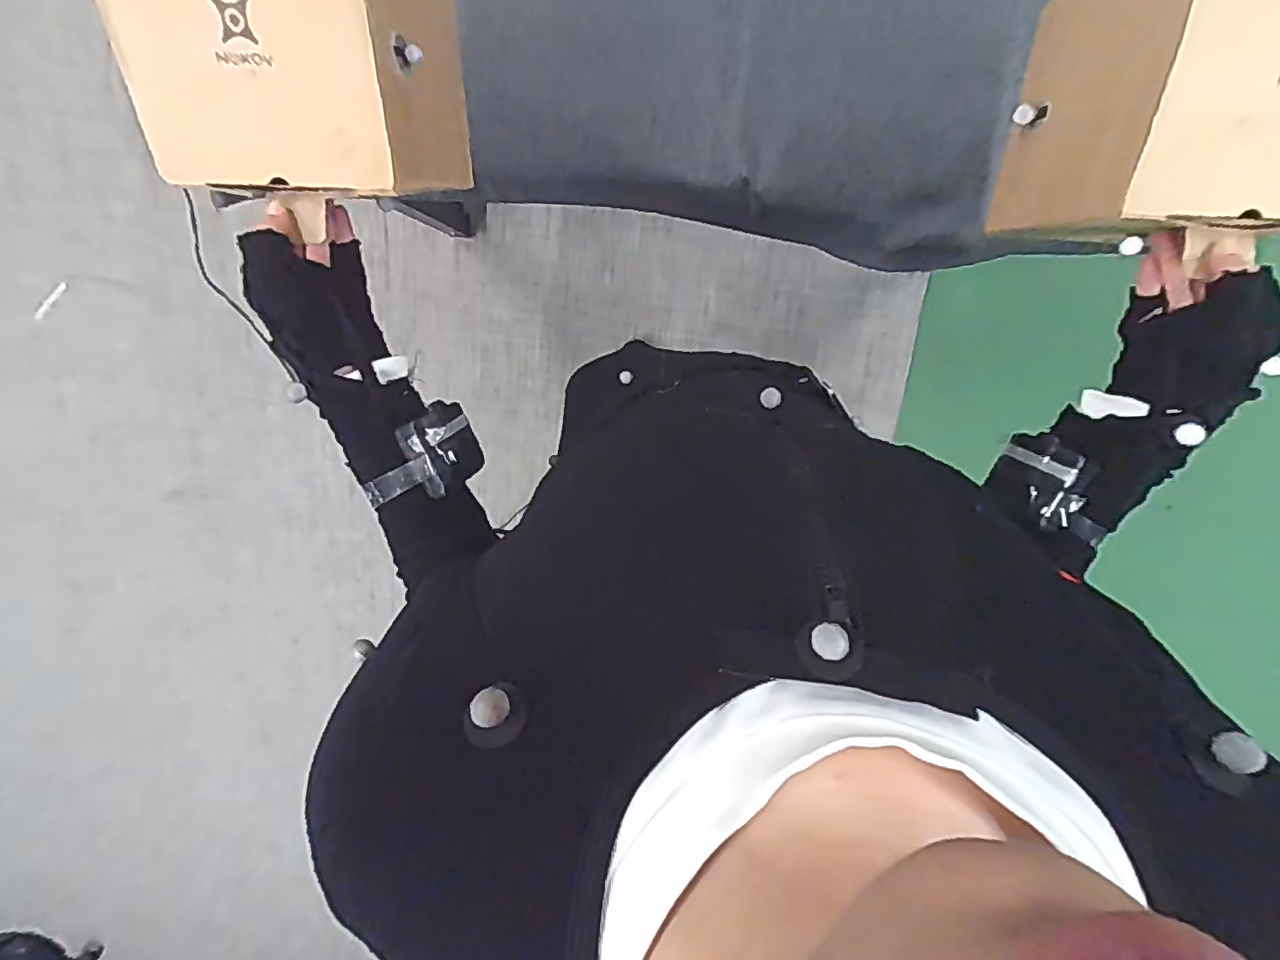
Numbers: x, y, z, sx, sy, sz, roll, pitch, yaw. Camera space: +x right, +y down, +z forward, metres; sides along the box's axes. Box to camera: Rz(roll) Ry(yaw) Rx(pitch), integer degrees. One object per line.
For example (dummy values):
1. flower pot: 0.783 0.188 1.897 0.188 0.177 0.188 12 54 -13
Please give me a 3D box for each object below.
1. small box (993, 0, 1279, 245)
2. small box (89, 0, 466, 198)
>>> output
1. small box: 0.400 -0.272 0.396 0.168 0.176 0.179 4 112 1
2. small box: -0.238 -0.309 0.391 0.168 0.176 0.179 2 119 1
